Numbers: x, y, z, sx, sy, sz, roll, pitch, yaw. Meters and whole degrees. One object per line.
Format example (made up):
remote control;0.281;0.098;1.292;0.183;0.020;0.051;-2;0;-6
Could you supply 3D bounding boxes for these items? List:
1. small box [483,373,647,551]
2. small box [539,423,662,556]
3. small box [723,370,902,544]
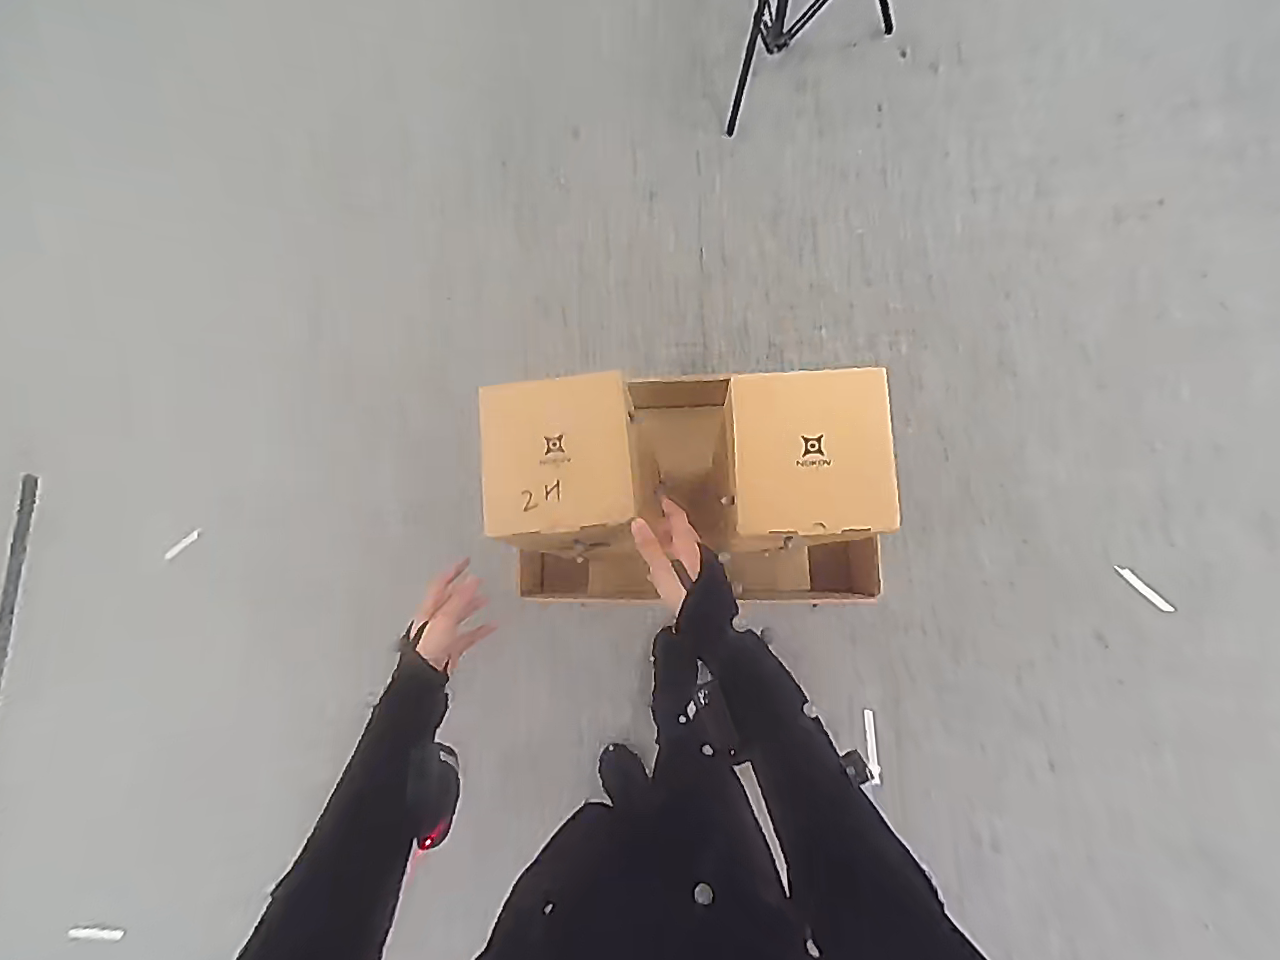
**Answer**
small box;-0.084;-0.012;0.668;0.168;0.176;0.179;-6;78;5
small box;-0.056;0.024;0.827;0.168;0.176;0.179;-5;78;4
small box;0.189;-0.016;0.642;0.168;0.176;0.179;-2;82;5
